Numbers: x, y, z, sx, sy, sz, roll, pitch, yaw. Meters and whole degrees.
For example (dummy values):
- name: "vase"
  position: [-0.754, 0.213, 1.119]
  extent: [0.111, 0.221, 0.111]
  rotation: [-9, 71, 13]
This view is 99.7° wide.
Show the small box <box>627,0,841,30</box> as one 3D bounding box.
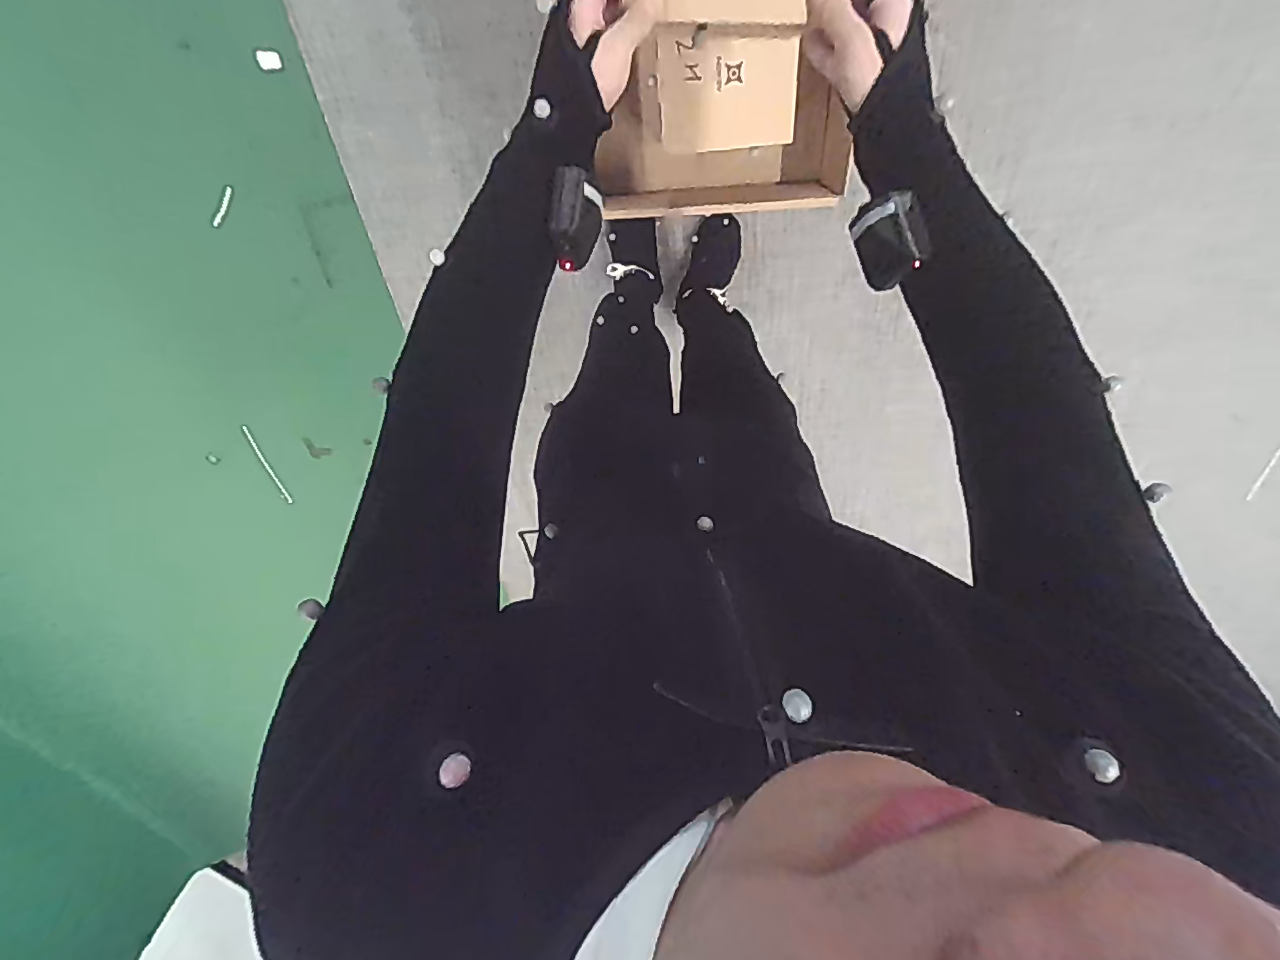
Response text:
- name: "small box"
  position: [0.081, -0.494, 0.458]
  extent: [0.179, 0.176, 0.168]
  rotation: [2, 127, 1]

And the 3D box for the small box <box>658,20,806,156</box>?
- name: "small box"
  position: [0.116, -0.549, 0.735]
  extent: [0.179, 0.176, 0.168]
  rotation: [-3, 126, 4]
